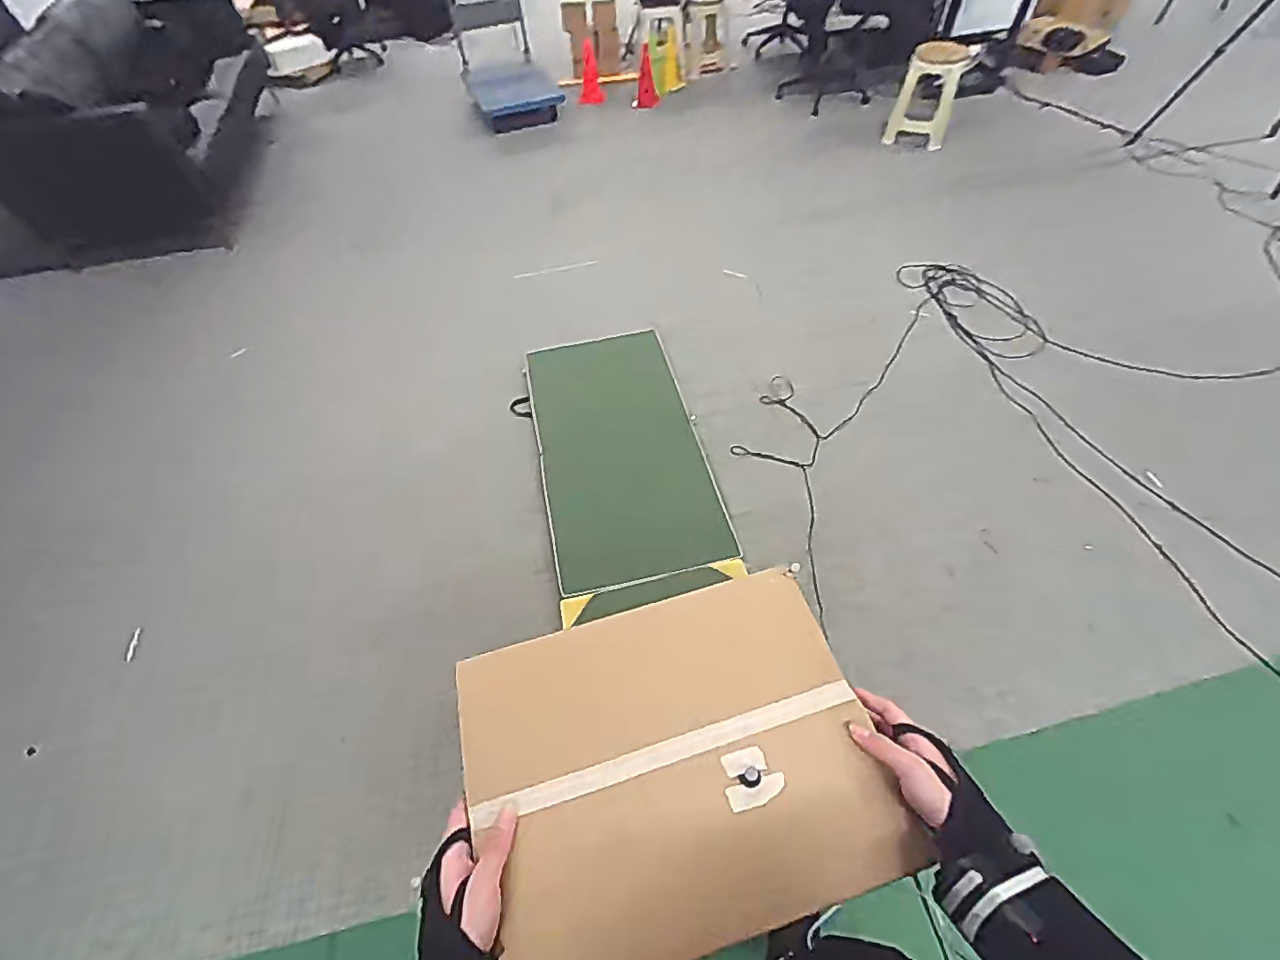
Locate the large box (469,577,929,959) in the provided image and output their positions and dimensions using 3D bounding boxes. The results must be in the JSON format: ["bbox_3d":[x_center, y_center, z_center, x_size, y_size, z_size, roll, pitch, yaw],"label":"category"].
[{"bbox_3d":[0.042,0.376,0.672,0.408,0.320,0.320,-15,55,-8],"label":"large box"}]
